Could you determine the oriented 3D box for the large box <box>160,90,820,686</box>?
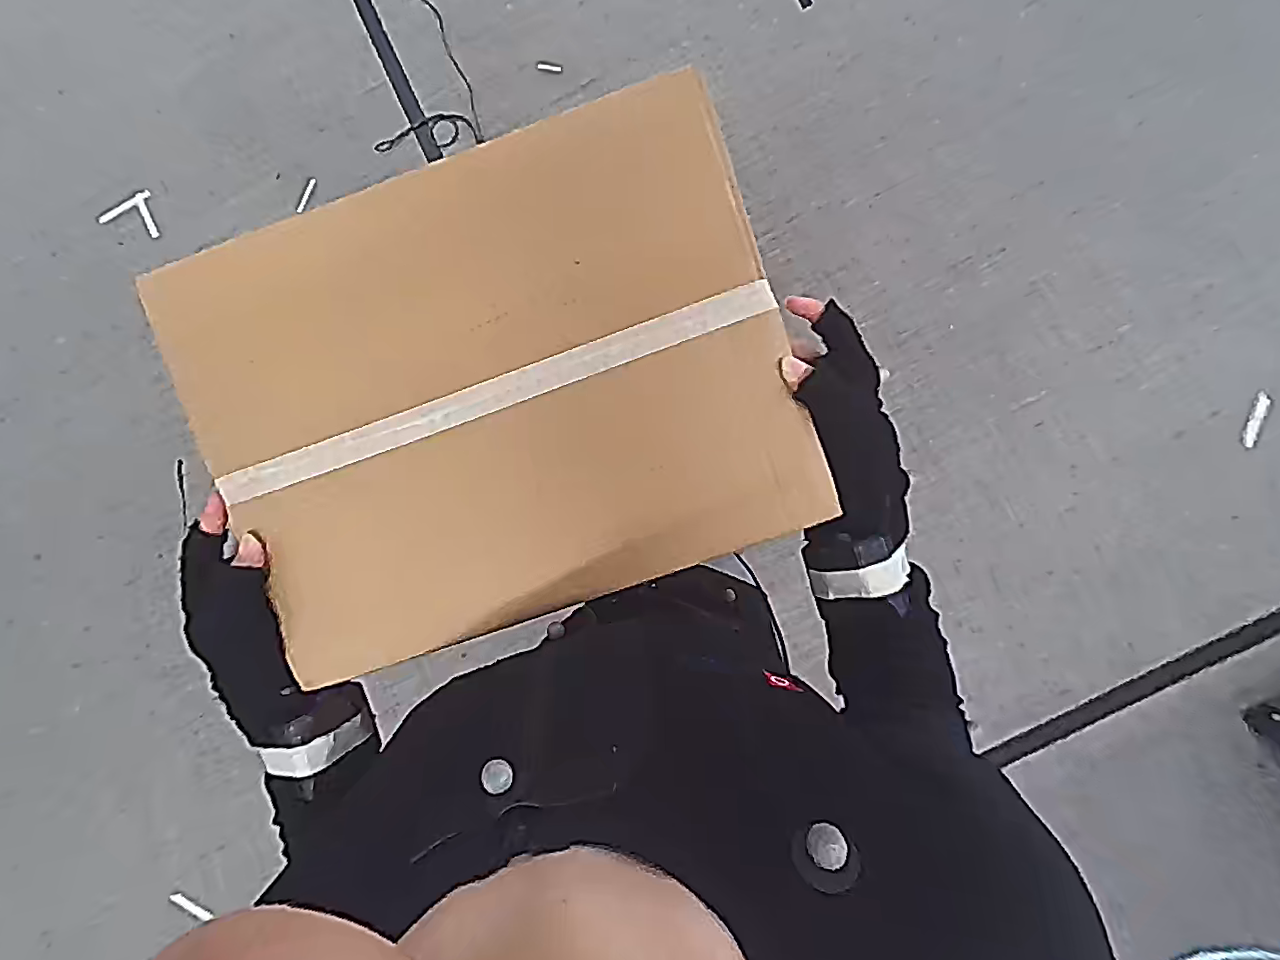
[{"bbox_3d":[-0.101,-0.068,0.531,0.408,0.320,0.320,-19,93,3],"label":"large box"}]
